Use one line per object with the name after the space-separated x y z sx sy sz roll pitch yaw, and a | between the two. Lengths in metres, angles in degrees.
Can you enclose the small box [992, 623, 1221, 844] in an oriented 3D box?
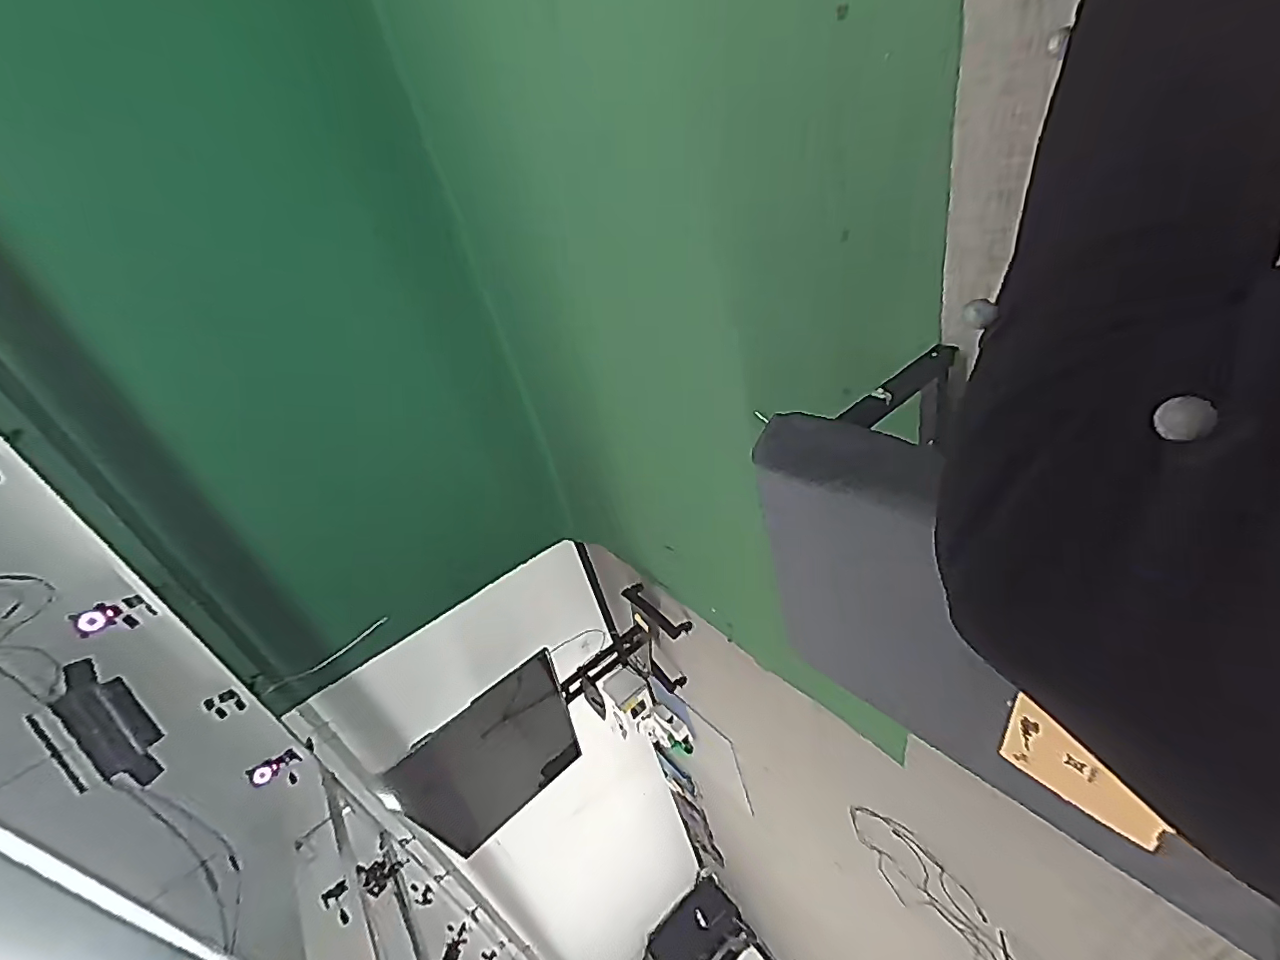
0.618 0.327 0.728 0.179 0.176 0.168 30 143 46 | small box
